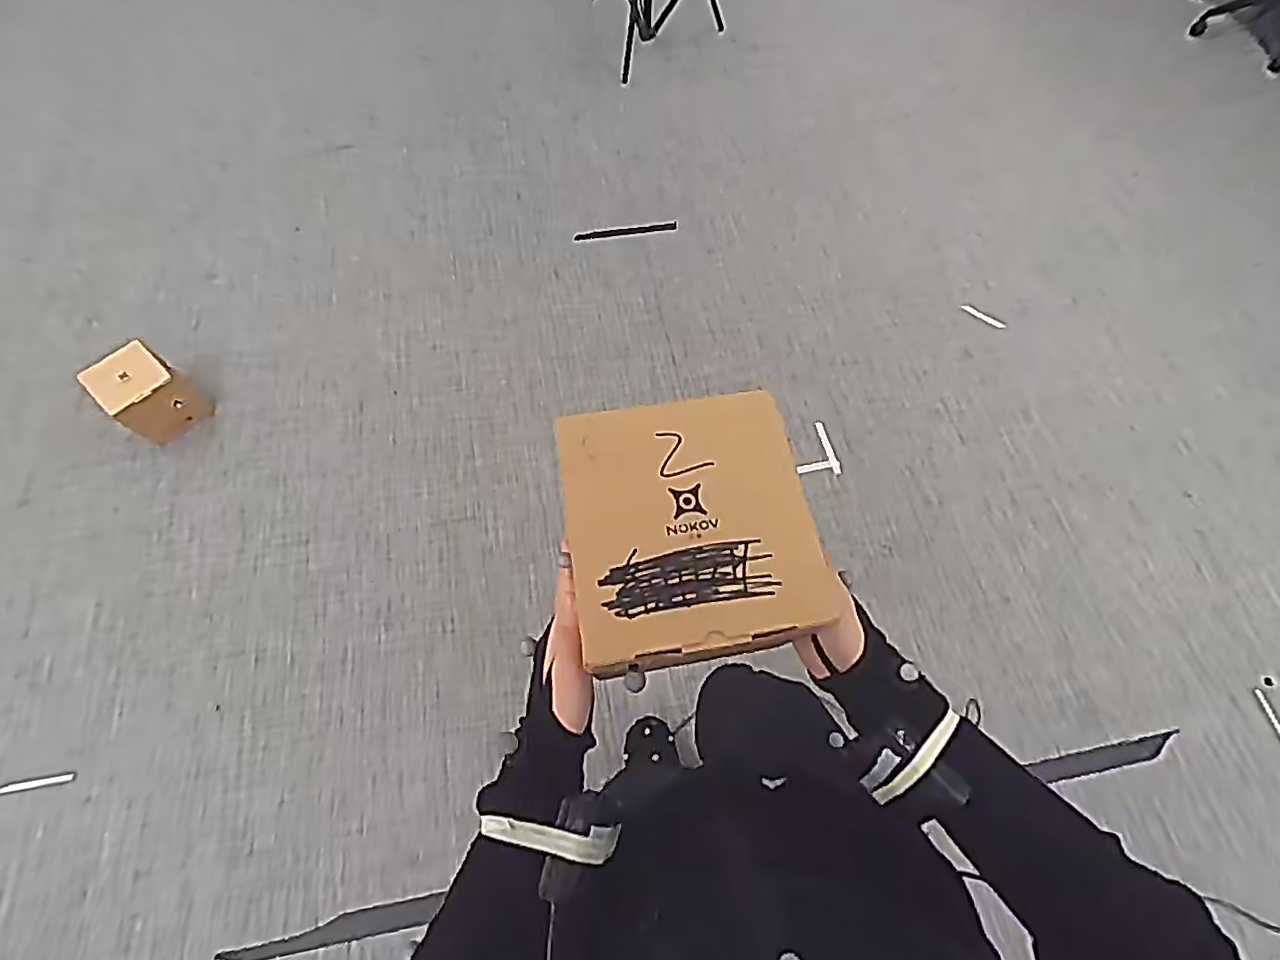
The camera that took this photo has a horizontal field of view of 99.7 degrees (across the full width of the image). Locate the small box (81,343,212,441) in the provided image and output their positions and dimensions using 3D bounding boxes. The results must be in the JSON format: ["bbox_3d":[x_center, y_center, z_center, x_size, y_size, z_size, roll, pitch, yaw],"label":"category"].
[{"bbox_3d":[-1.331,-0.229,1.473,0.179,0.176,0.168,40,70,14],"label":"small box"}]
